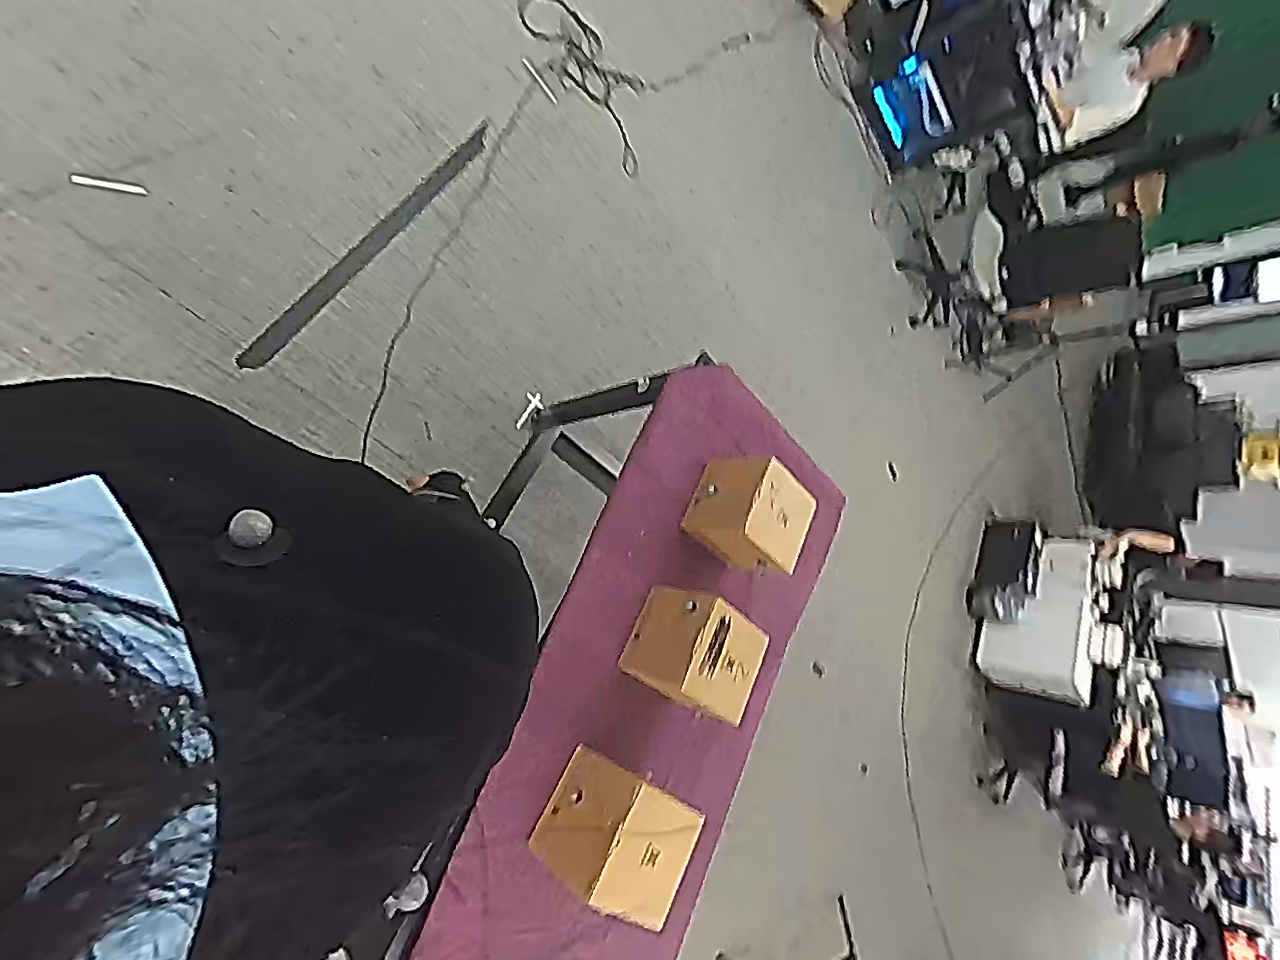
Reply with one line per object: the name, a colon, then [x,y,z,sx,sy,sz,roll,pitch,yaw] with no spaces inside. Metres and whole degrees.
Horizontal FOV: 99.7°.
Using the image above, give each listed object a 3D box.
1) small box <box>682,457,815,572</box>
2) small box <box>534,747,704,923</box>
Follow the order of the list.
small box: [0.220,0.066,1.103,0.179,0.176,0.168,39,66,-32]
small box: [-0.034,0.563,0.876,0.179,0.176,0.168,46,61,-30]
